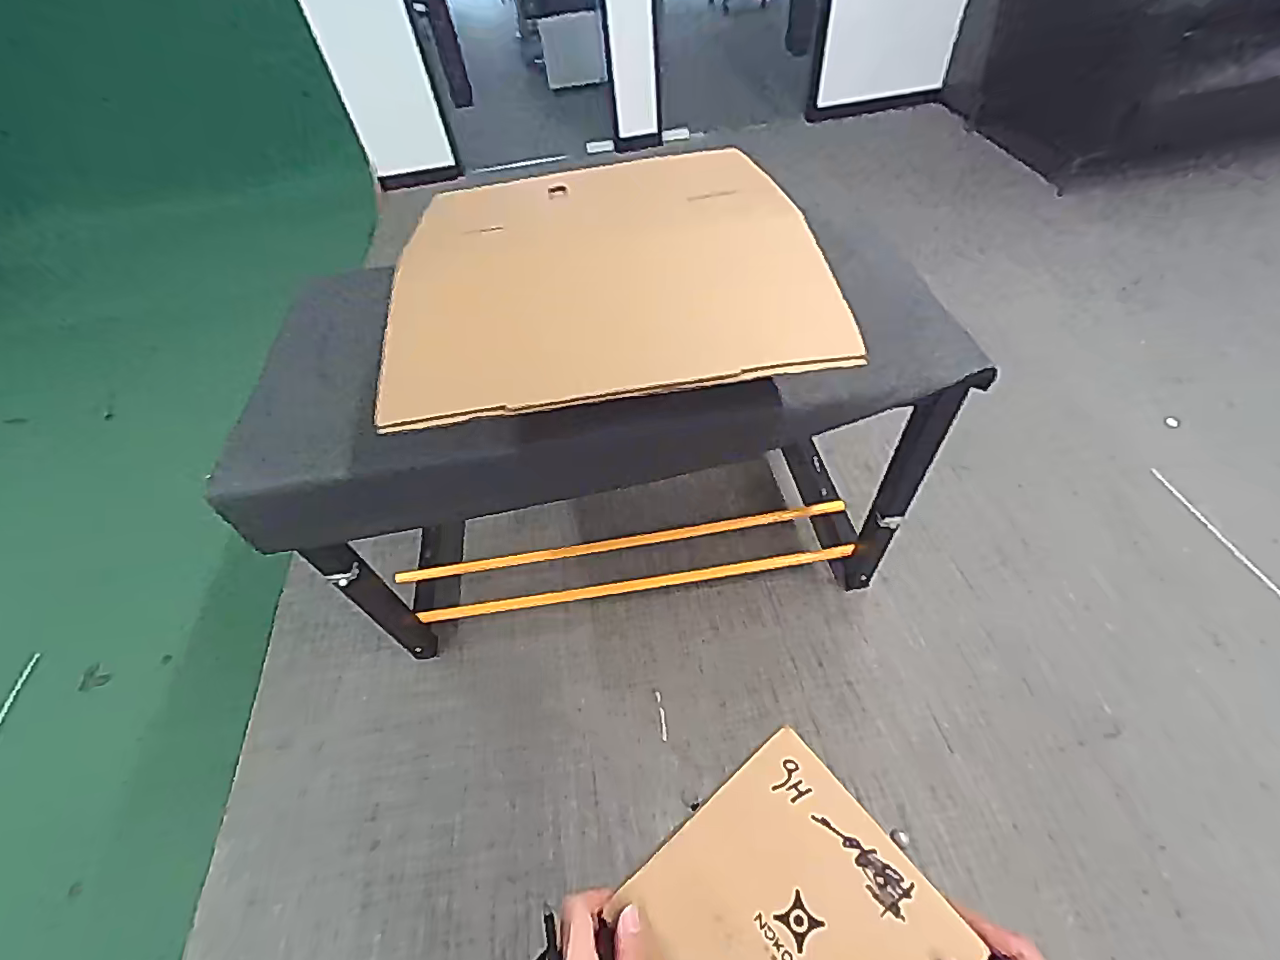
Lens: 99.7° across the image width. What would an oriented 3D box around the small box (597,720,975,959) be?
[{"bbox_3d":[0.096,0.316,0.407,0.179,0.176,0.168,-38,63,-15],"label":"small box"}]
